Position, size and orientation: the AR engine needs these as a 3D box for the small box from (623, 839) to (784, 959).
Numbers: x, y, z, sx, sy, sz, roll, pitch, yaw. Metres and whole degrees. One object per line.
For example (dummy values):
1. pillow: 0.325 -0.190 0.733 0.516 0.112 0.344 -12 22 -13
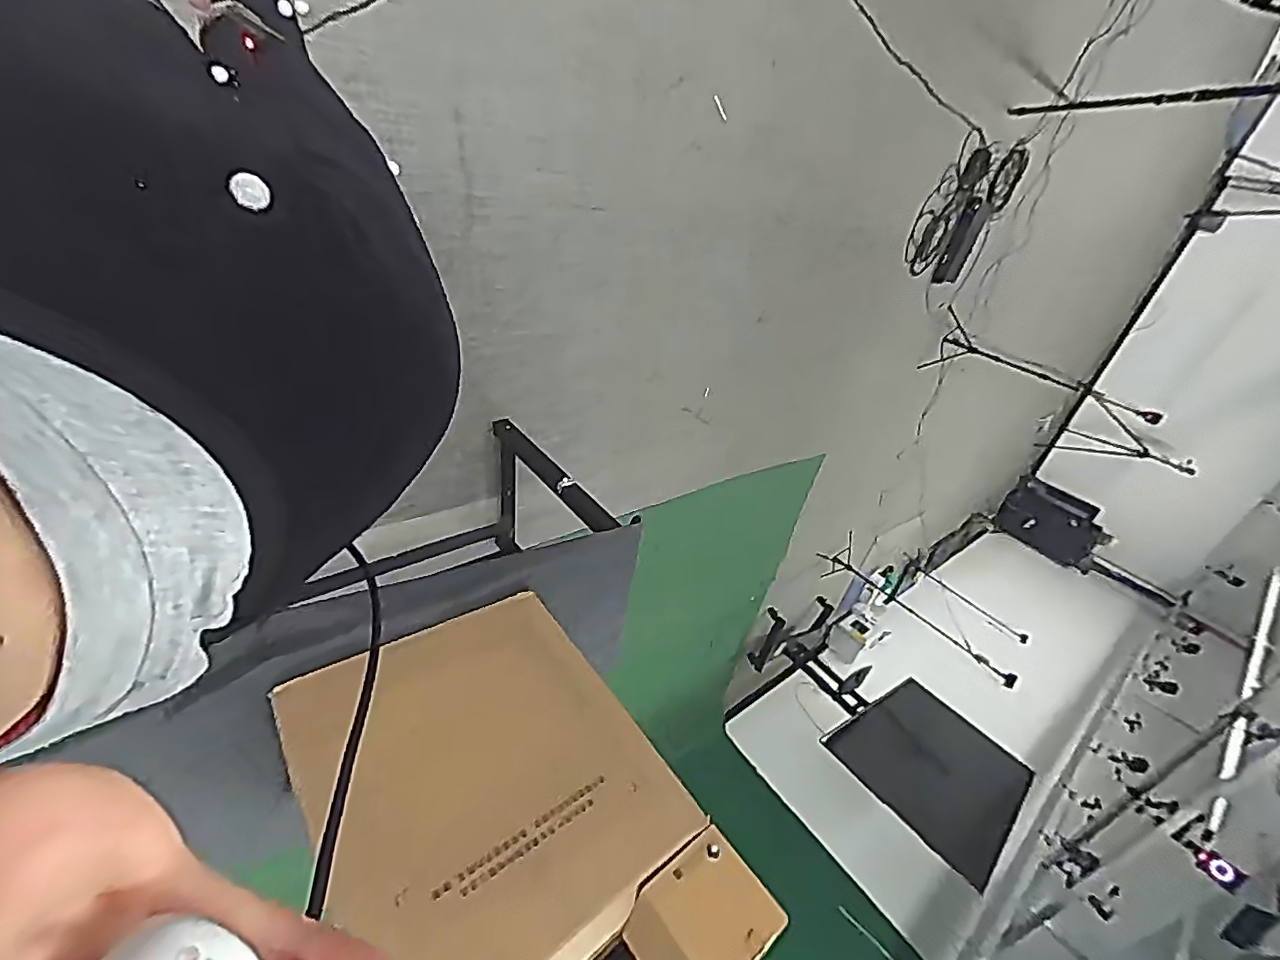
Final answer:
1. small box: 0.092 0.721 0.862 0.168 0.176 0.179 -15 131 -38
